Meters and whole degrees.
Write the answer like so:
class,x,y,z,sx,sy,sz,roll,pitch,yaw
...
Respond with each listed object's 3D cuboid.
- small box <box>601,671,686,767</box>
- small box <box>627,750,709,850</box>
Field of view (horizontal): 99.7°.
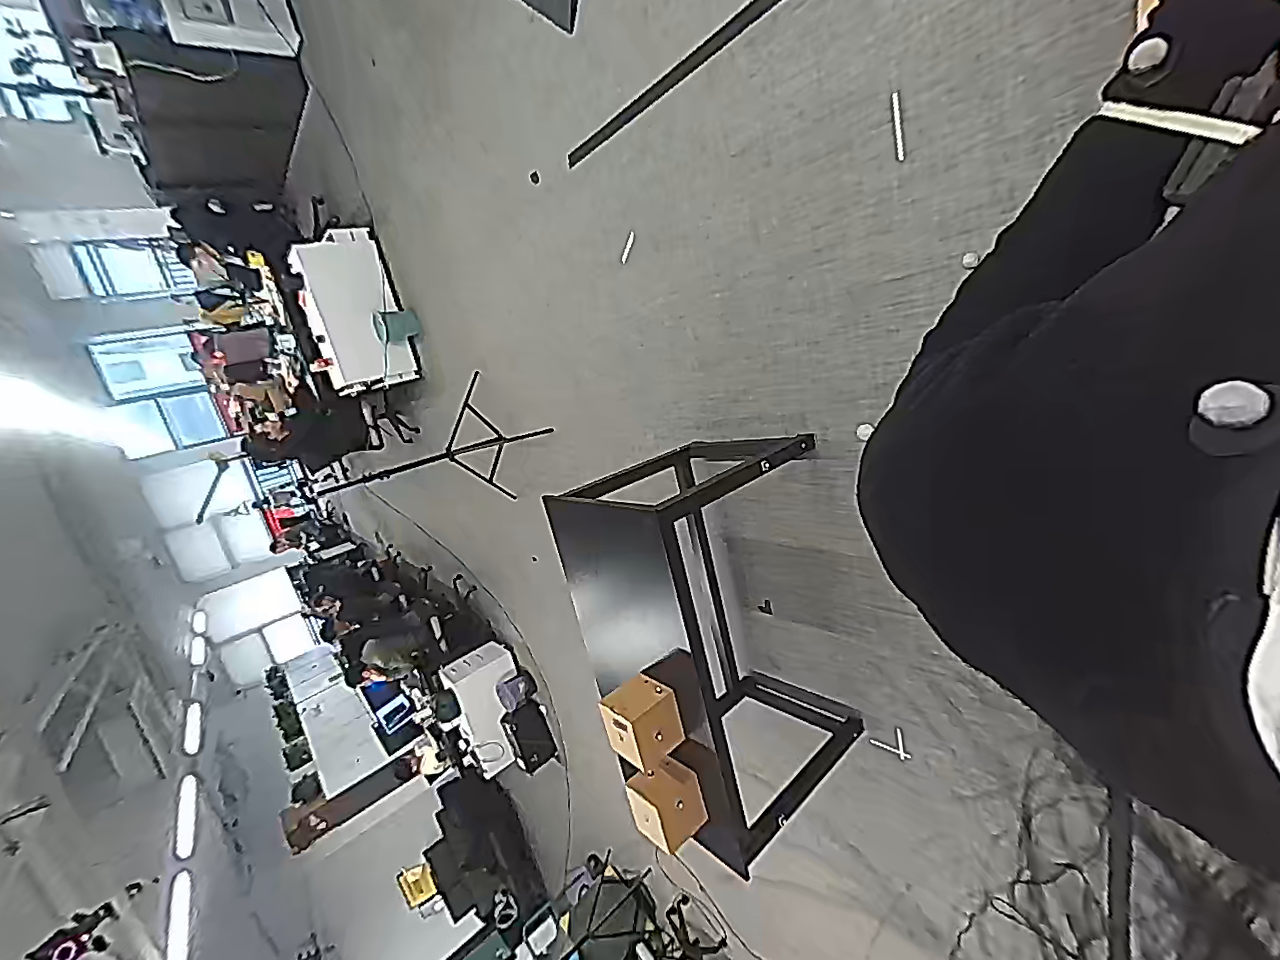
class,x,y,z,sx,sy,sz,roll,pitch,yaw
small box,0.013,0.709,1.627,0.168,0.176,0.179,5,114,52
small box,0.091,0.988,1.688,0.168,0.176,0.179,0,110,54
